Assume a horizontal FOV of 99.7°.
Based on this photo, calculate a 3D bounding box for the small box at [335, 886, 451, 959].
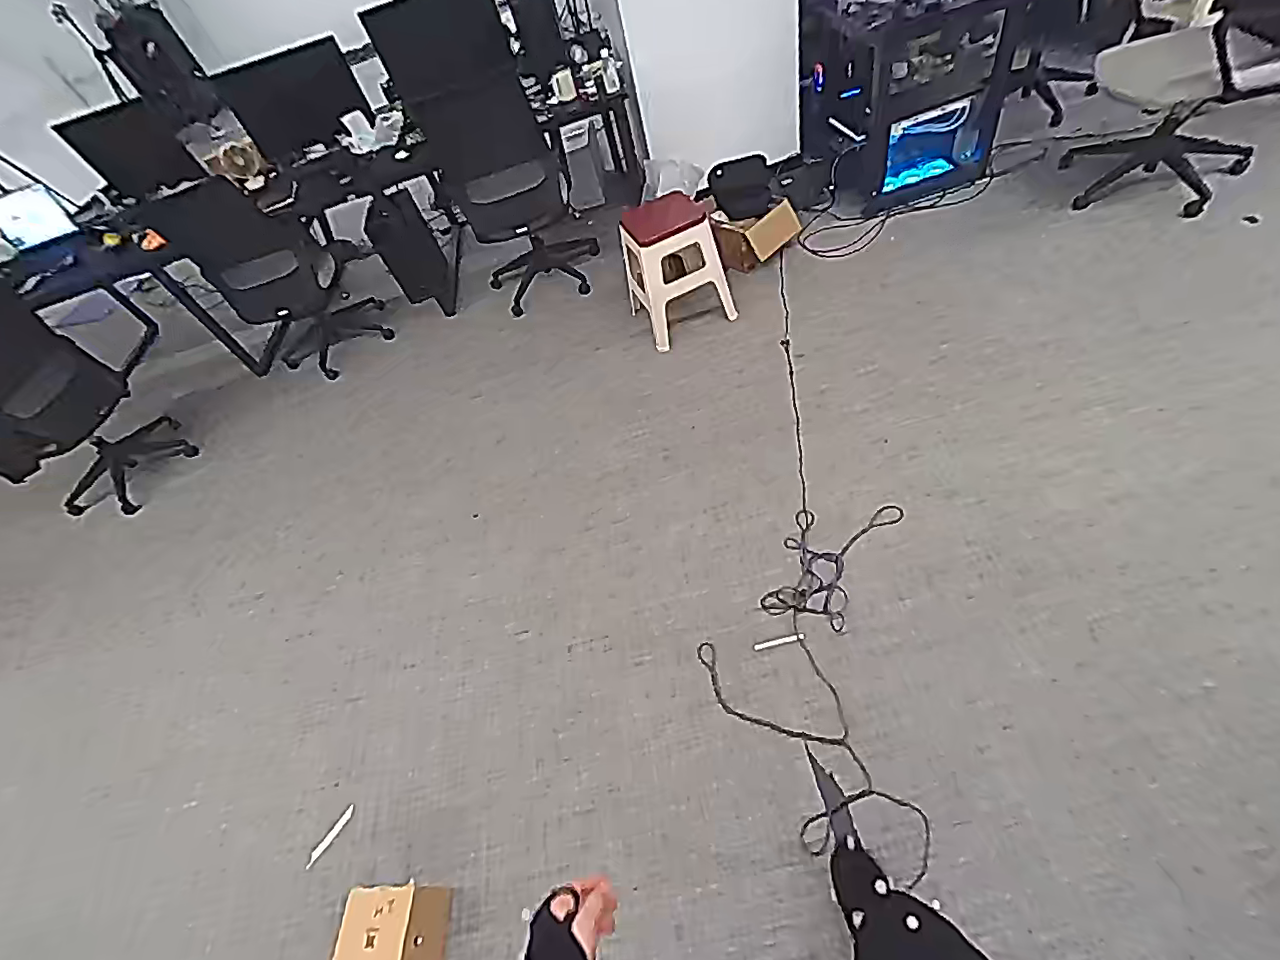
[{"bbox_3d":[-0.551,1.028,1.218,0.168,0.176,0.179,-9,50,10],"label":"small box"}]
